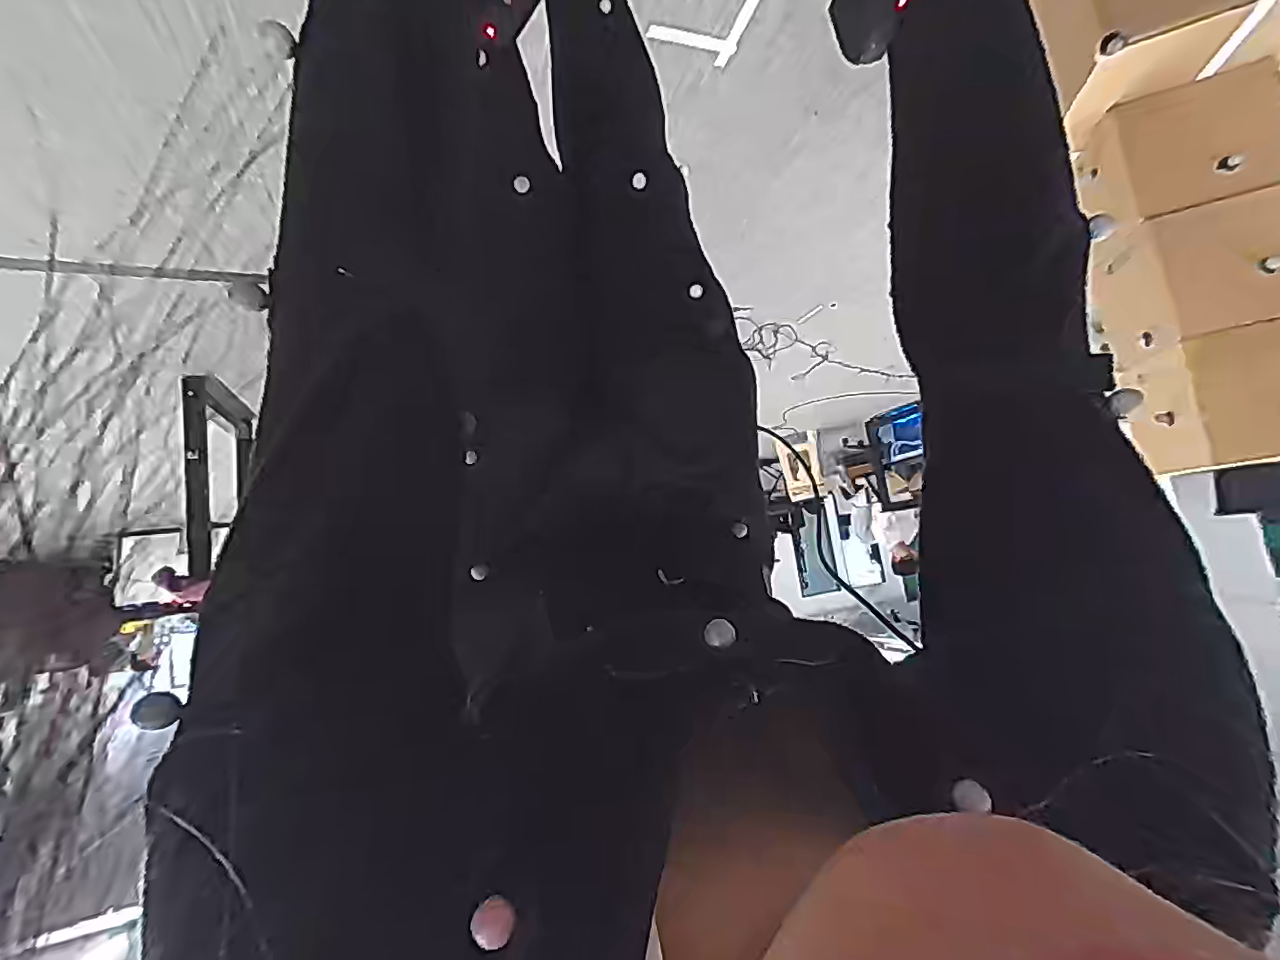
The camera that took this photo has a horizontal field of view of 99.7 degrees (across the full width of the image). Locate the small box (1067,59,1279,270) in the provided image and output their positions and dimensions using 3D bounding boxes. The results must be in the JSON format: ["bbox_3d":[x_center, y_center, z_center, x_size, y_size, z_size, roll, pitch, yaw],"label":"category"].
[{"bbox_3d":[0.748,-0.431,0.757,0.179,0.176,0.168,-10,172,18],"label":"small box"}]

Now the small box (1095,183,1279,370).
[{"bbox_3d":[0.774,-0.270,0.734,0.179,0.176,0.168,-11,171,18],"label":"small box"}]

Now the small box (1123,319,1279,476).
[{"bbox_3d":[0.796,-0.110,0.716,0.179,0.176,0.168,-11,172,18],"label":"small box"}]
